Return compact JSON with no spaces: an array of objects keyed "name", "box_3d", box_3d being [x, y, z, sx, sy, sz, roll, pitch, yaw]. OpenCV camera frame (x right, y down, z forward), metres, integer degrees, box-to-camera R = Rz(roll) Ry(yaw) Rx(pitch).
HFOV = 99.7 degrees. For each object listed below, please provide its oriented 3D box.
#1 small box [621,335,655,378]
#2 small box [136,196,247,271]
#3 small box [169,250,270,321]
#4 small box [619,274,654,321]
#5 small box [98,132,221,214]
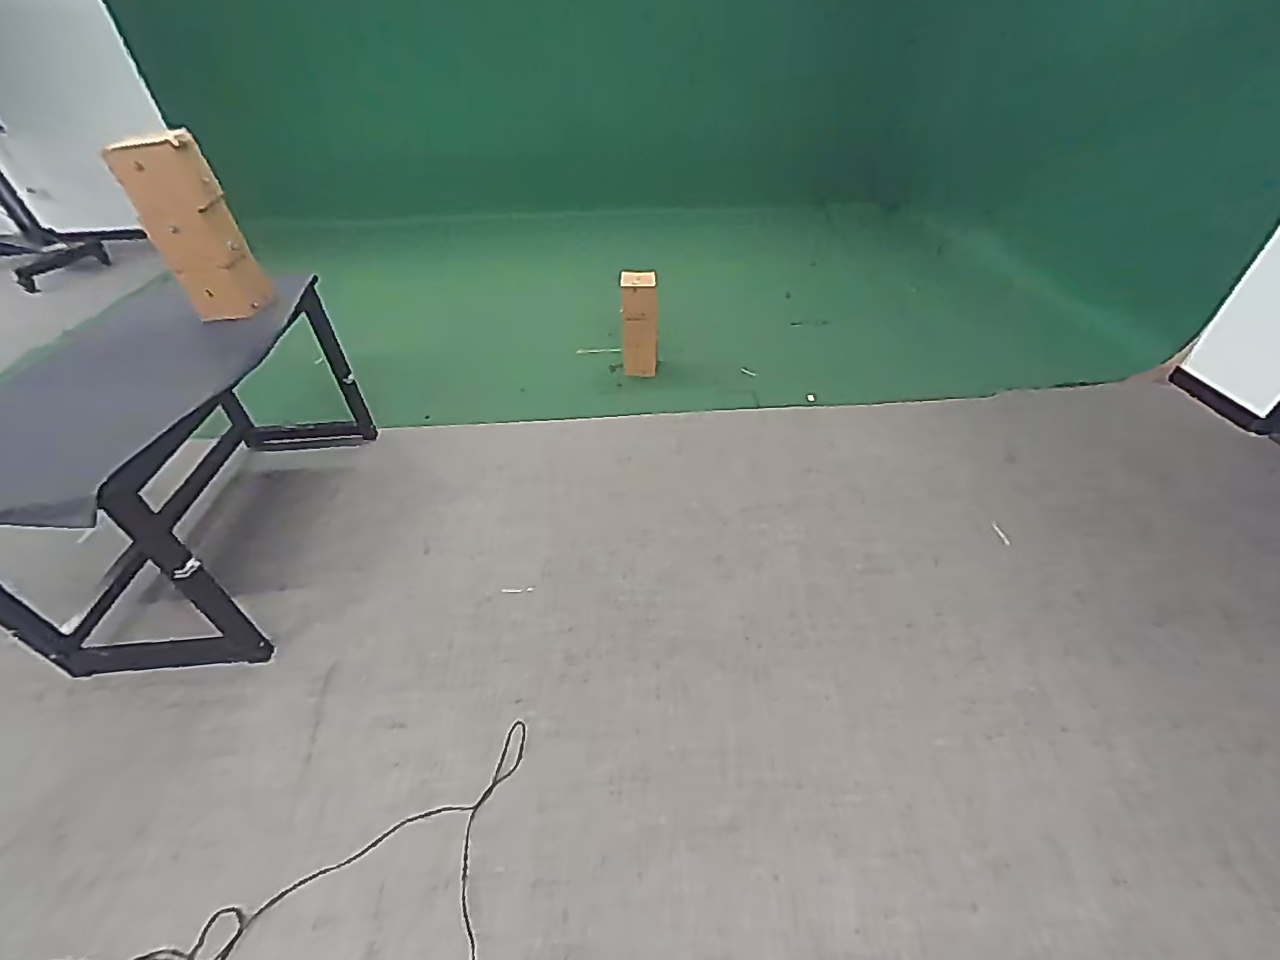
[{"name":"small box","box_3d":[-0.009,-0.657,2.871,0.168,0.176,0.179,2,42,3]},{"name":"small box","box_3d":[-1.372,-0.759,1.669,0.179,0.176,0.168,-7,44,-4]},{"name":"small box","box_3d":[-1.369,-0.640,1.779,0.179,0.176,0.168,-6,43,0]},{"name":"small box","box_3d":[-0.018,-0.894,2.643,0.168,0.176,0.179,0,41,-1]},{"name":"small box","box_3d":[-1.372,-0.882,1.558,0.179,0.176,0.168,-10,45,-6]}]
